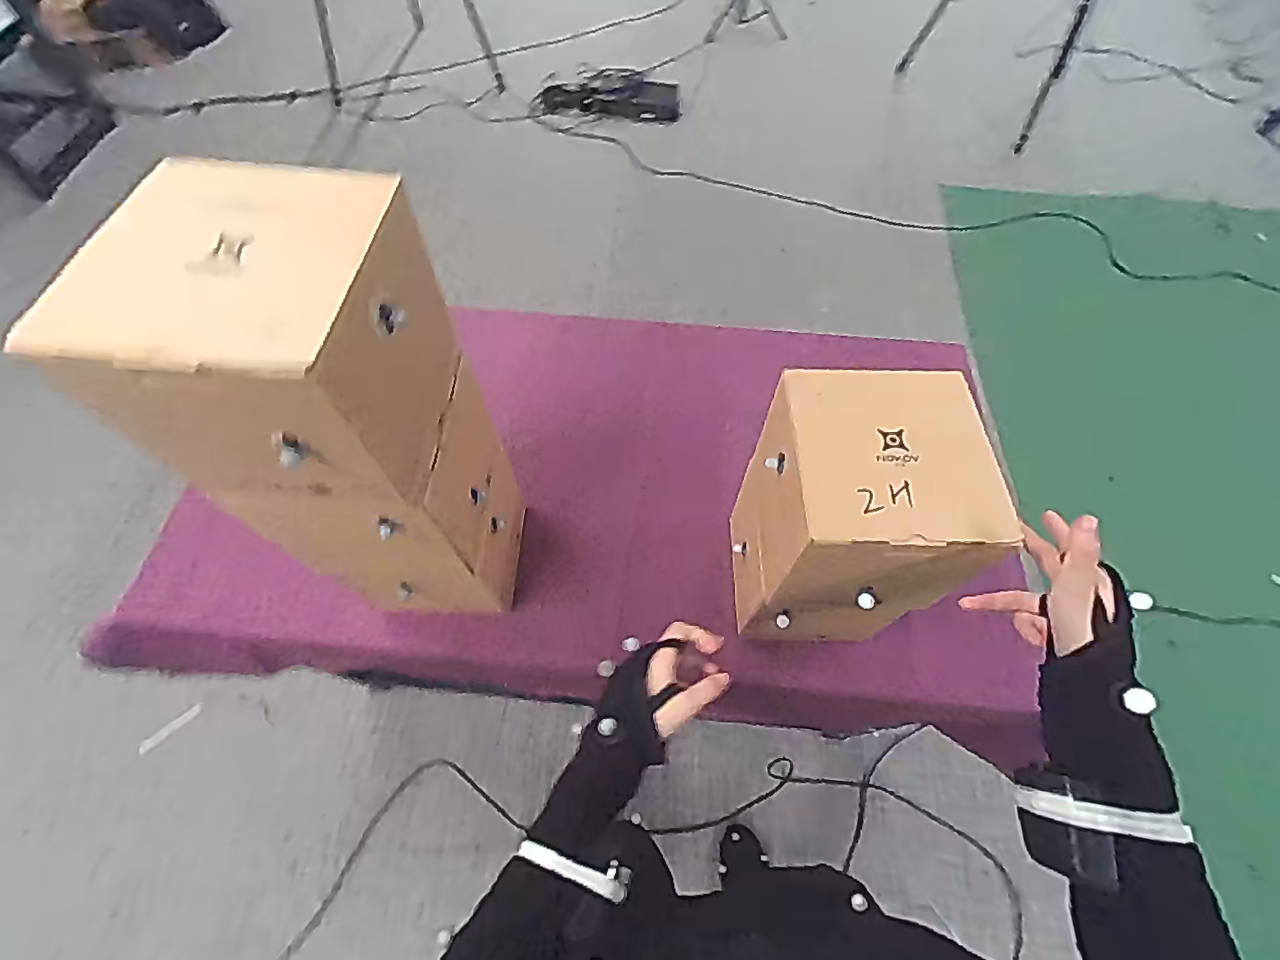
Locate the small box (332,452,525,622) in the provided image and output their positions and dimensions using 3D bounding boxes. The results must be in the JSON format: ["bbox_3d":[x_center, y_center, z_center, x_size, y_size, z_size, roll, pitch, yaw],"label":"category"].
[{"bbox_3d":[-0.257,0.075,0.682,0.179,0.176,0.168,2,60,1],"label":"small box"}]

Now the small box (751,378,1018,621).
[{"bbox_3d":[0.207,0.023,0.521,0.168,0.176,0.179,0,59,1],"label":"small box"}]

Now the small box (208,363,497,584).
[{"bbox_3d":[-0.258,-0.002,0.539,0.179,0.176,0.168,2,60,0],"label":"small box"}]

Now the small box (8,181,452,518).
[{"bbox_3d":[-0.256,-0.086,0.400,0.168,0.176,0.179,5,59,1],"label":"small box"}]
